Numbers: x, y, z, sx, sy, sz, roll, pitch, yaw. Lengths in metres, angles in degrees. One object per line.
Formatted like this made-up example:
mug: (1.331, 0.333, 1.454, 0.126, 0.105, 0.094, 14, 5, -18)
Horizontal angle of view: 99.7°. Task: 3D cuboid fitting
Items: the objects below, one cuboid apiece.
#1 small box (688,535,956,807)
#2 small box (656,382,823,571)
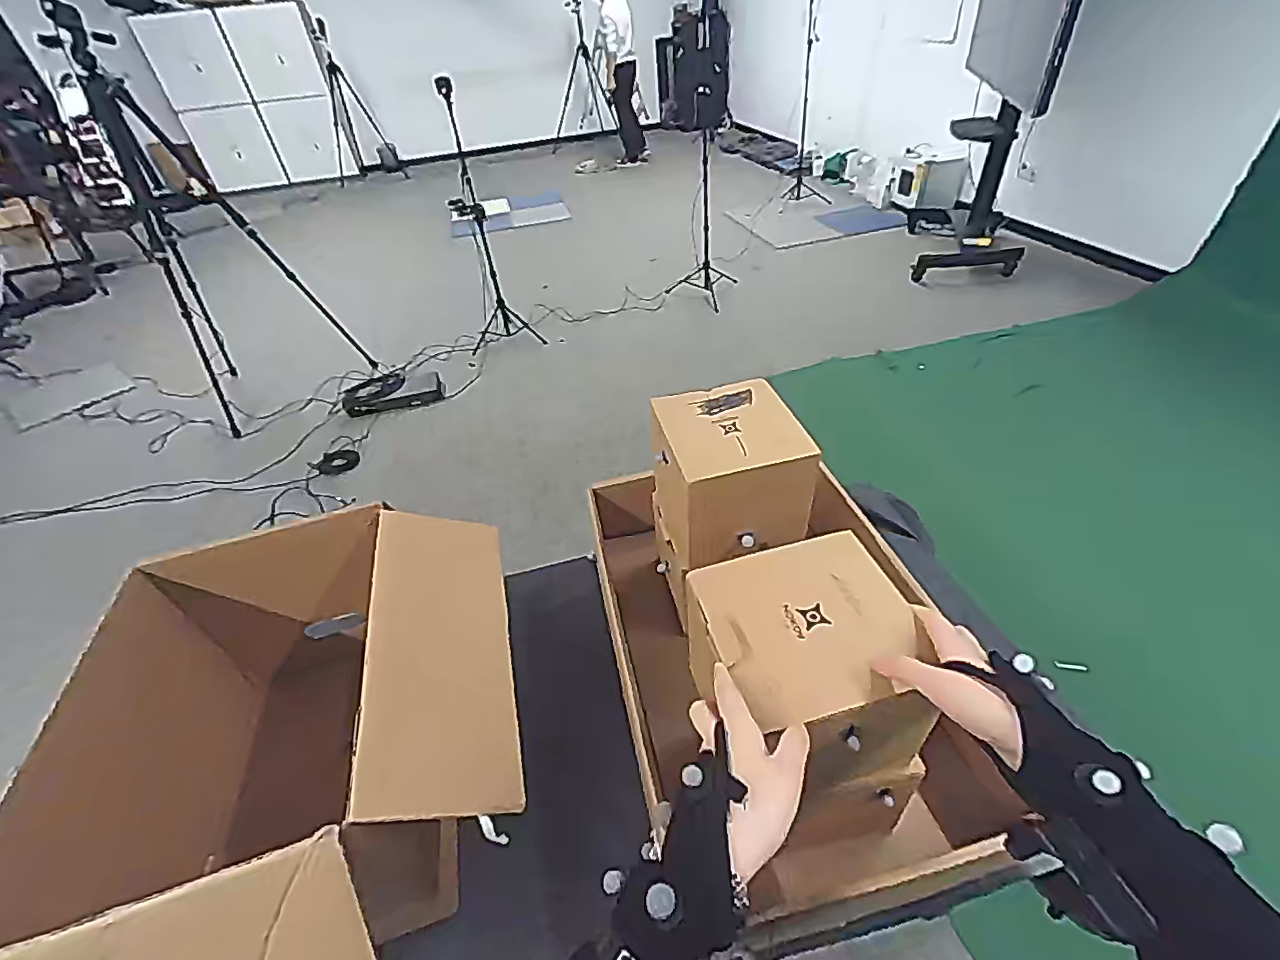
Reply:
small box: (0.155, 0.185, 0.524, 0.179, 0.176, 0.168, -13, 42, -9)
small box: (0.121, -0.006, 0.733, 0.168, 0.176, 0.179, -12, 44, -6)
